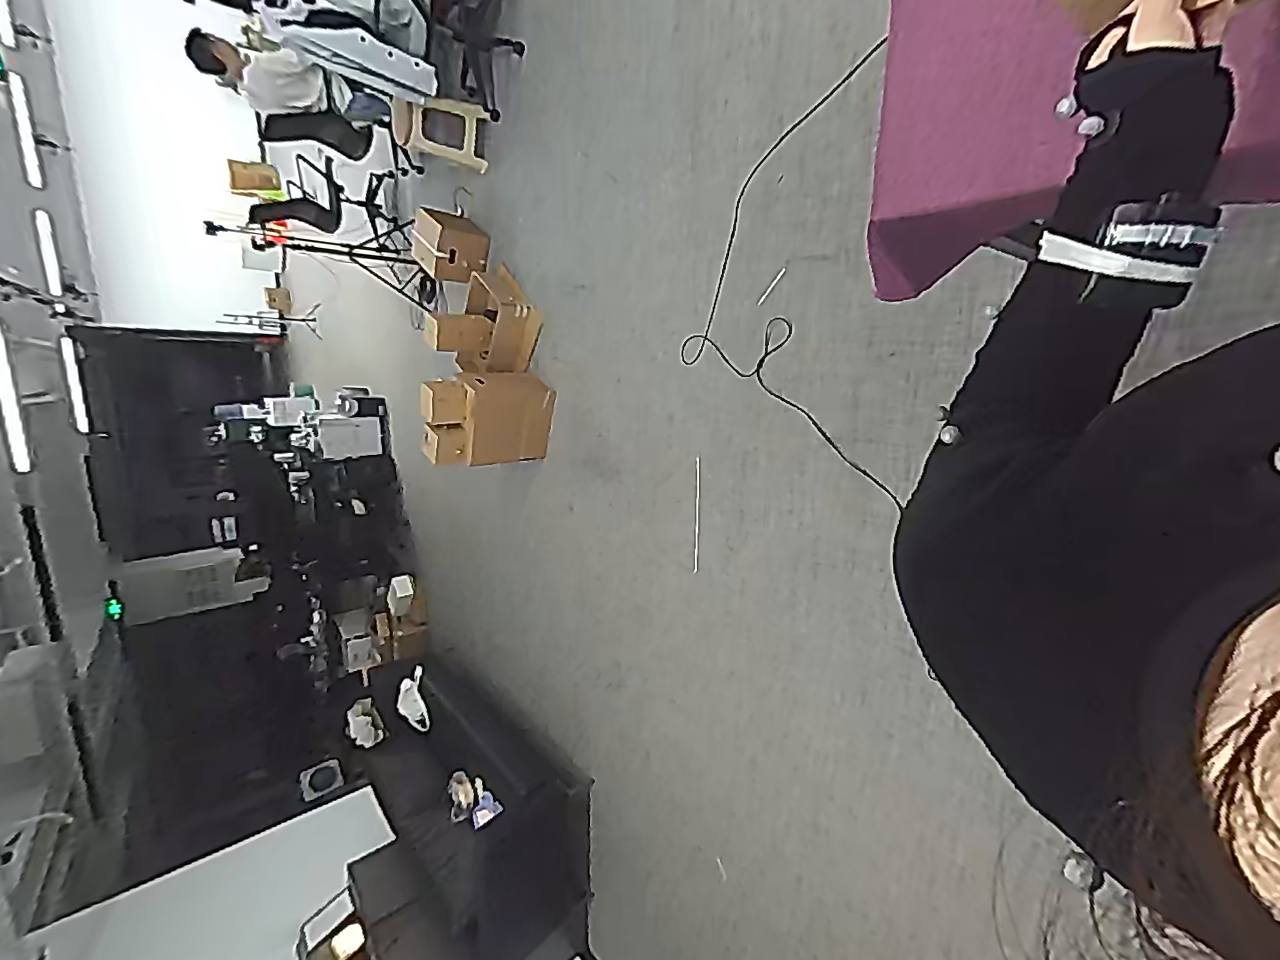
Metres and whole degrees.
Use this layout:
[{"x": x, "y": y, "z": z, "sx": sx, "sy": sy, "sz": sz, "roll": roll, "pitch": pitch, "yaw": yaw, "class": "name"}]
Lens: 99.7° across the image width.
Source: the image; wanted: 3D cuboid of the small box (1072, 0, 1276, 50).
[{"x": 0.405, "y": -0.443, "z": 0.365, "sx": 0.168, "sy": 0.176, "sz": 0.179, "roll": 16, "pitch": 113, "yaw": 49, "class": "small box"}]
